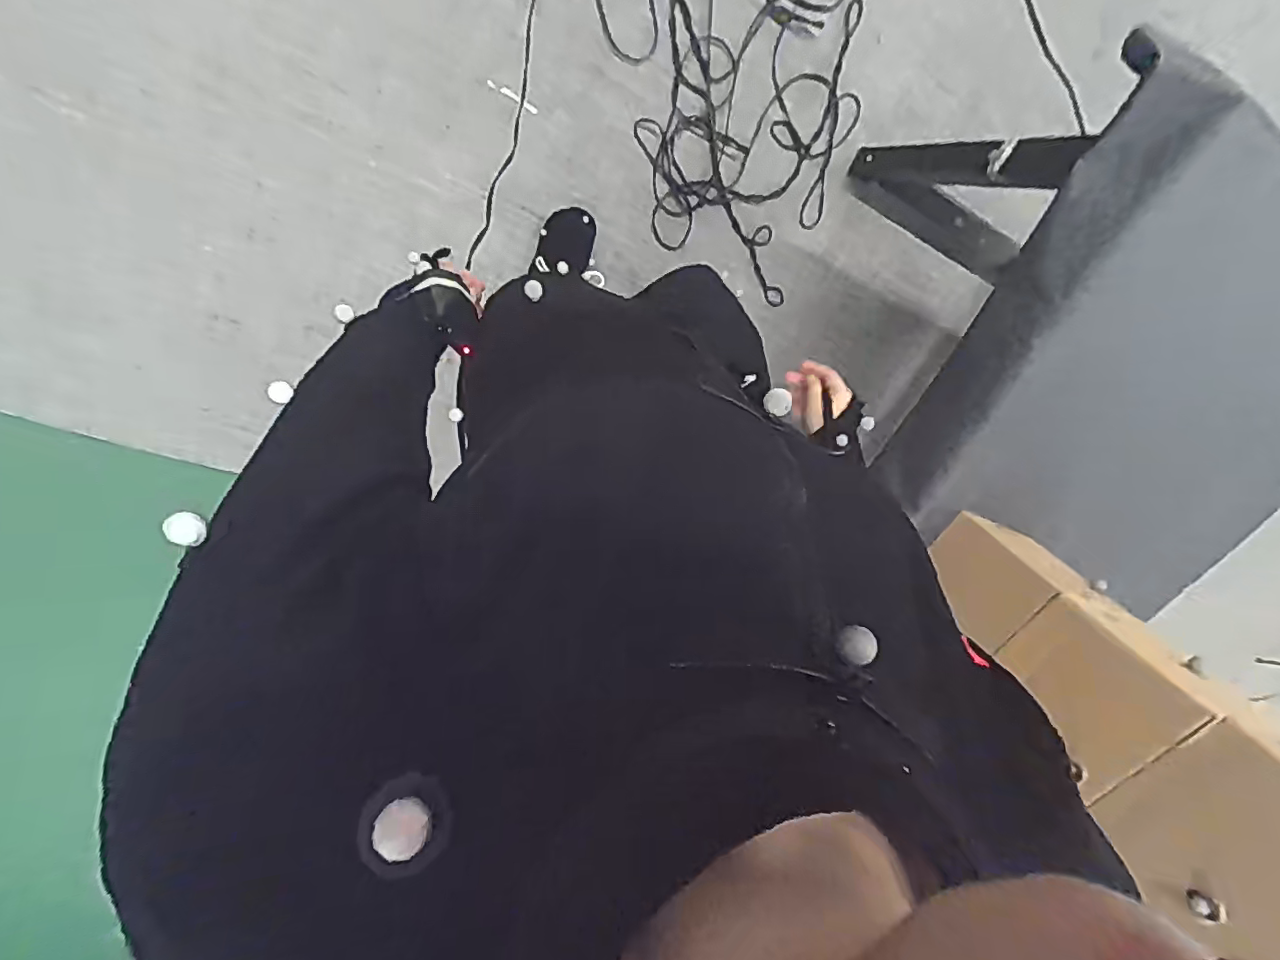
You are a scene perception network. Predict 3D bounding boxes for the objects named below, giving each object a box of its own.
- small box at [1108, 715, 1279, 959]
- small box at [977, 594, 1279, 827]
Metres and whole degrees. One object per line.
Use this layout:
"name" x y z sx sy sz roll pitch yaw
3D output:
"small box" 0.562 0.336 0.463 0.168 0.176 0.179 19 115 -23
"small box" 0.529 0.253 0.599 0.168 0.176 0.179 19 115 -21
